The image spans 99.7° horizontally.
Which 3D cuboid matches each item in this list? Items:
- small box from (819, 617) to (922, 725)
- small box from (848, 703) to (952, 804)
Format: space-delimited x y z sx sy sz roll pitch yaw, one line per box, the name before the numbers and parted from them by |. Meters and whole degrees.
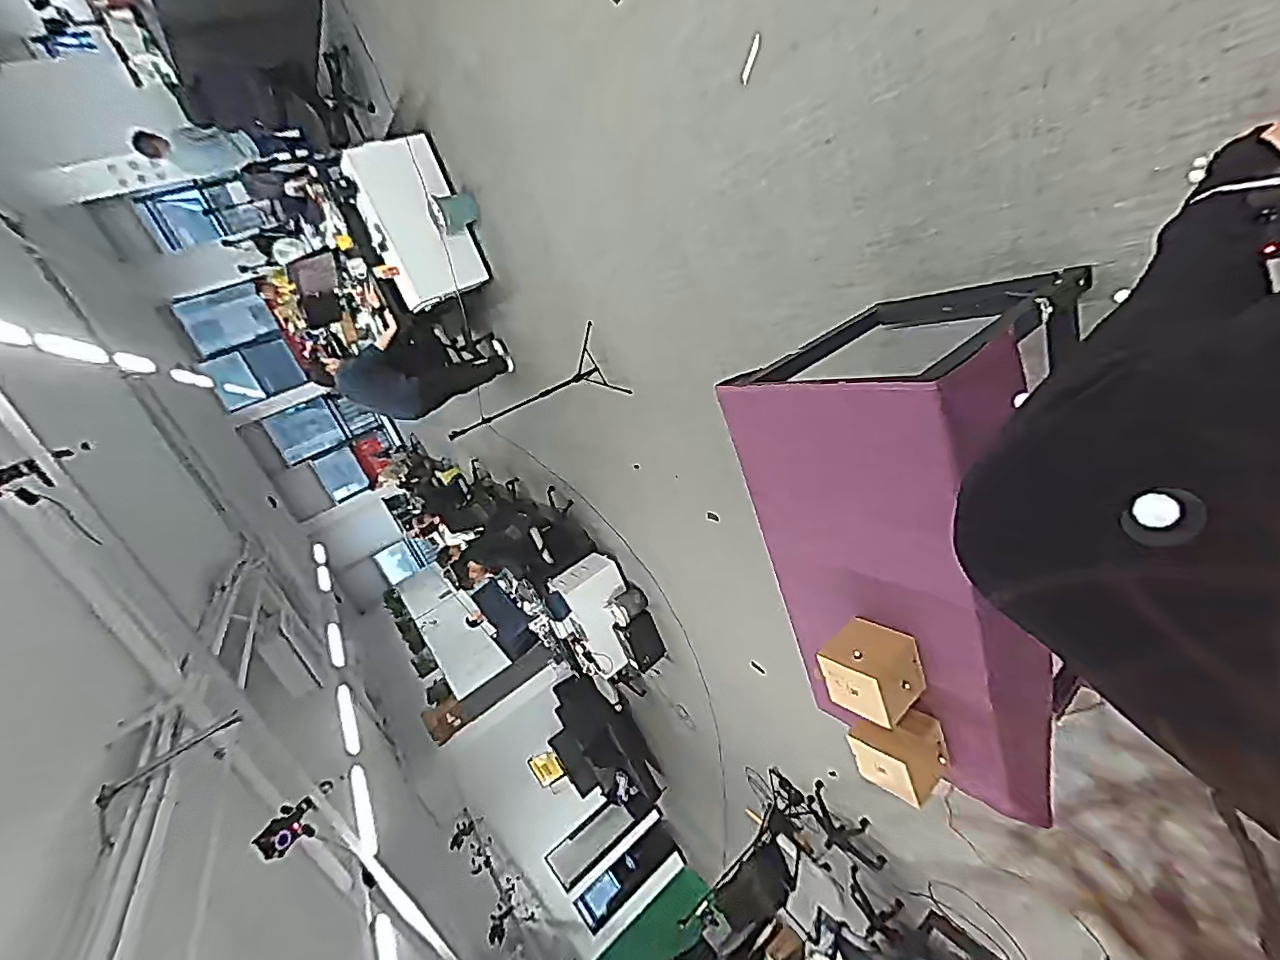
small box | 0.600 0.481 1.395 0.179 0.176 0.168 10 127 58
small box | 0.708 0.722 1.472 0.179 0.176 0.168 7 125 59
